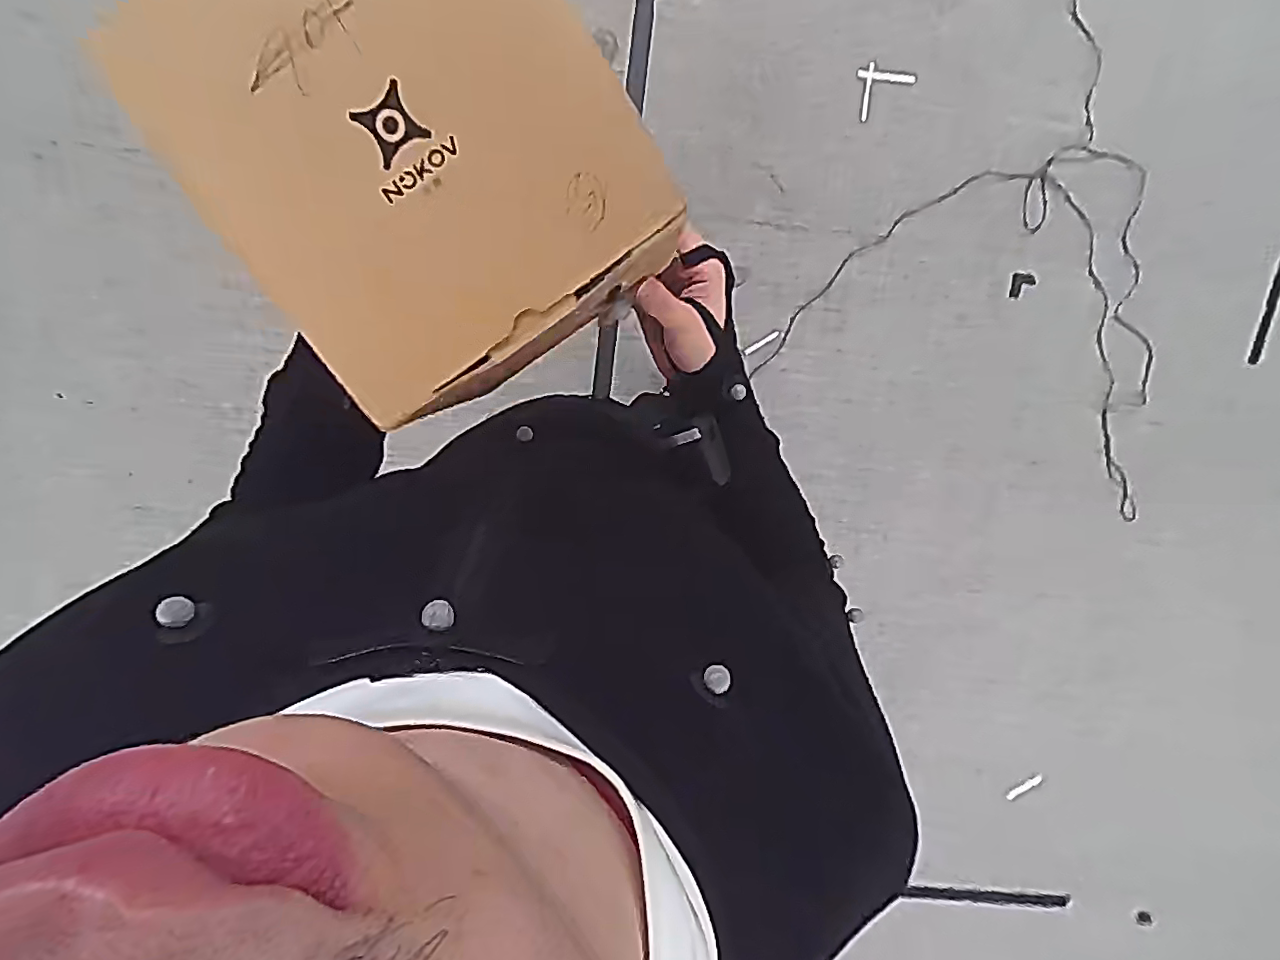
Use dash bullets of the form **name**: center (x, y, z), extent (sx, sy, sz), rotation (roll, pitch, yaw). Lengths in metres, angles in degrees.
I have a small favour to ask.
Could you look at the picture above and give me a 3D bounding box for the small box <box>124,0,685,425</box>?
- **small box**: center (-0.093, -0.157, 0.300), extent (0.168, 0.176, 0.179), rotation (-35, 101, 8)
